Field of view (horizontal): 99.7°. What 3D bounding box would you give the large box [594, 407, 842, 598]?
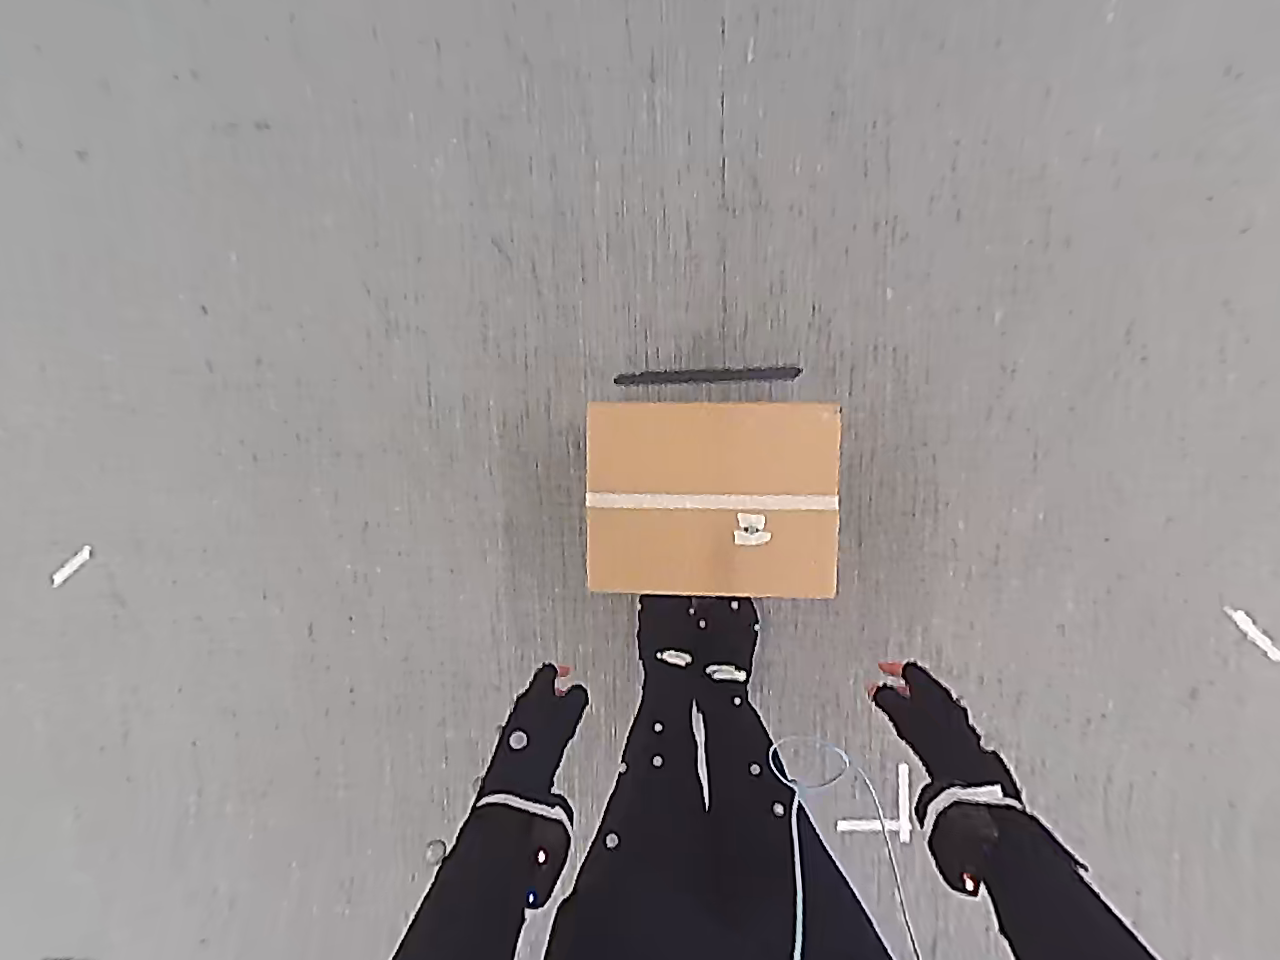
[{"bbox_3d":[0.132,0.031,1.027,0.408,0.320,0.320,0,95,4],"label":"large box"}]
